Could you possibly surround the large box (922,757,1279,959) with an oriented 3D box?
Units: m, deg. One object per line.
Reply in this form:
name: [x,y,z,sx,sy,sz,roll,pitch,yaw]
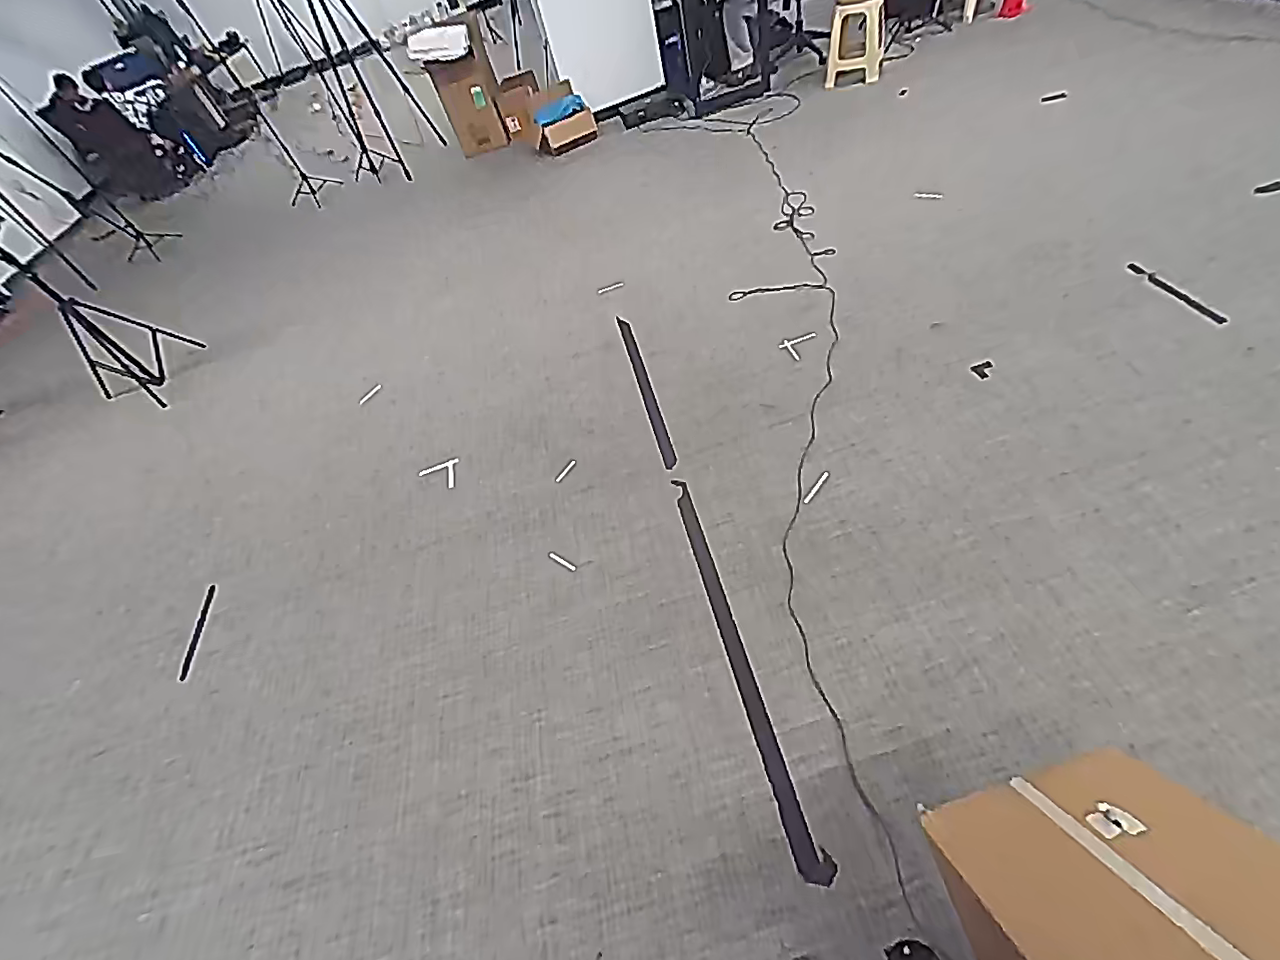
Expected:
large box: [0.622,0.610,0.624,0.320,0.408,0.320,-21,87,1]
